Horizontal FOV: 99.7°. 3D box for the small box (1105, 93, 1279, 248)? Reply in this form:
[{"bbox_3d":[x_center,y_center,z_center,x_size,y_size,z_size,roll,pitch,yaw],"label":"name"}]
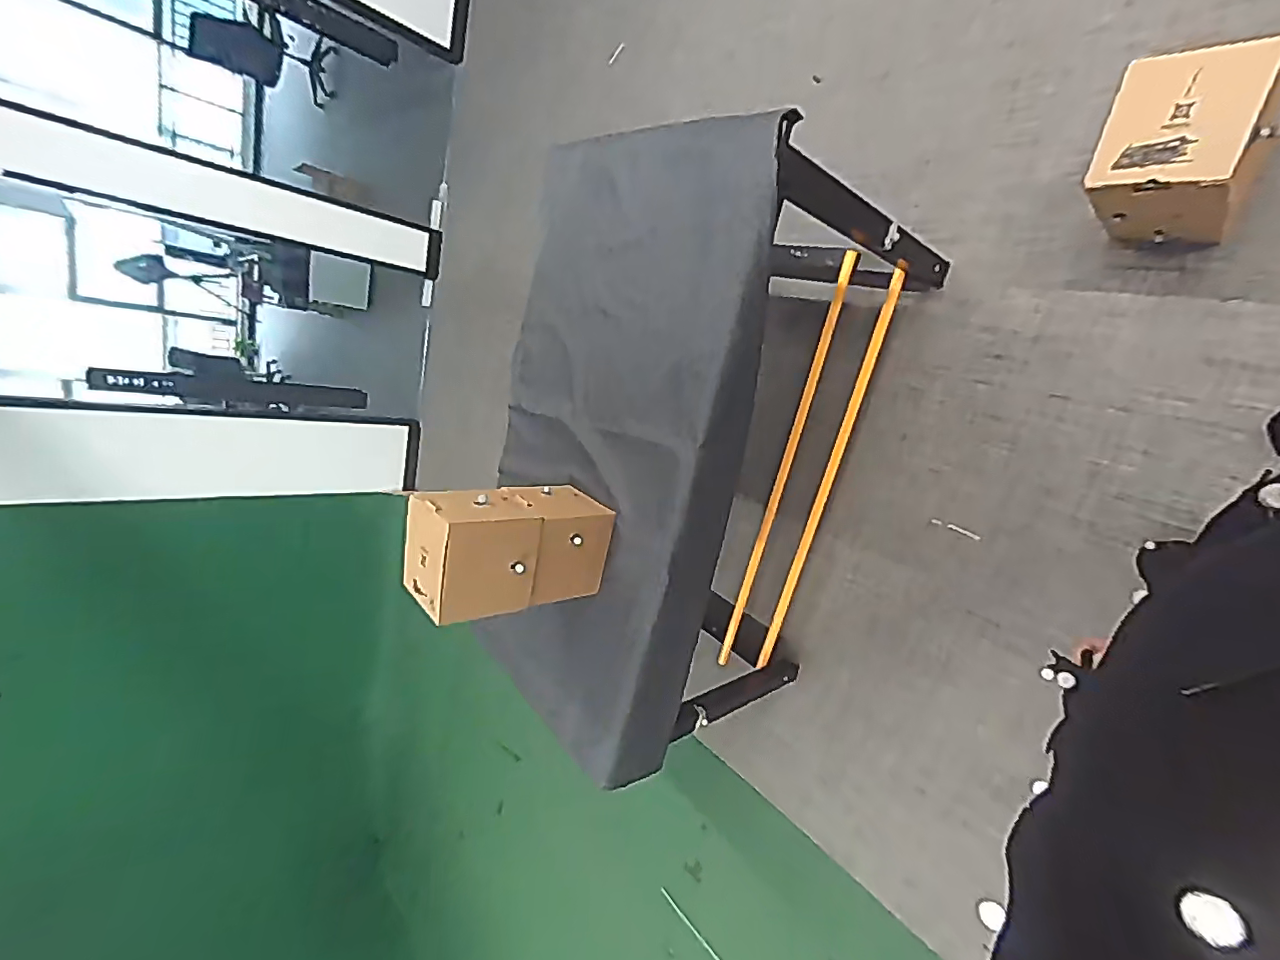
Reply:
[{"bbox_3d":[0.931,-0.519,0.927,0.168,0.176,0.179,29,110,43],"label":"small box"}]

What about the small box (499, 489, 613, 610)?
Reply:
[{"bbox_3d":[-0.172,0.124,1.049,0.168,0.176,0.179,27,110,45],"label":"small box"}]

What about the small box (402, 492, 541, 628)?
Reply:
[{"bbox_3d":[-0.290,0.127,0.933,0.168,0.176,0.179,23,106,46],"label":"small box"}]

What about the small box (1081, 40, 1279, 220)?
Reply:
[{"bbox_3d":[0.812,-0.505,0.815,0.168,0.176,0.179,26,108,43],"label":"small box"}]
